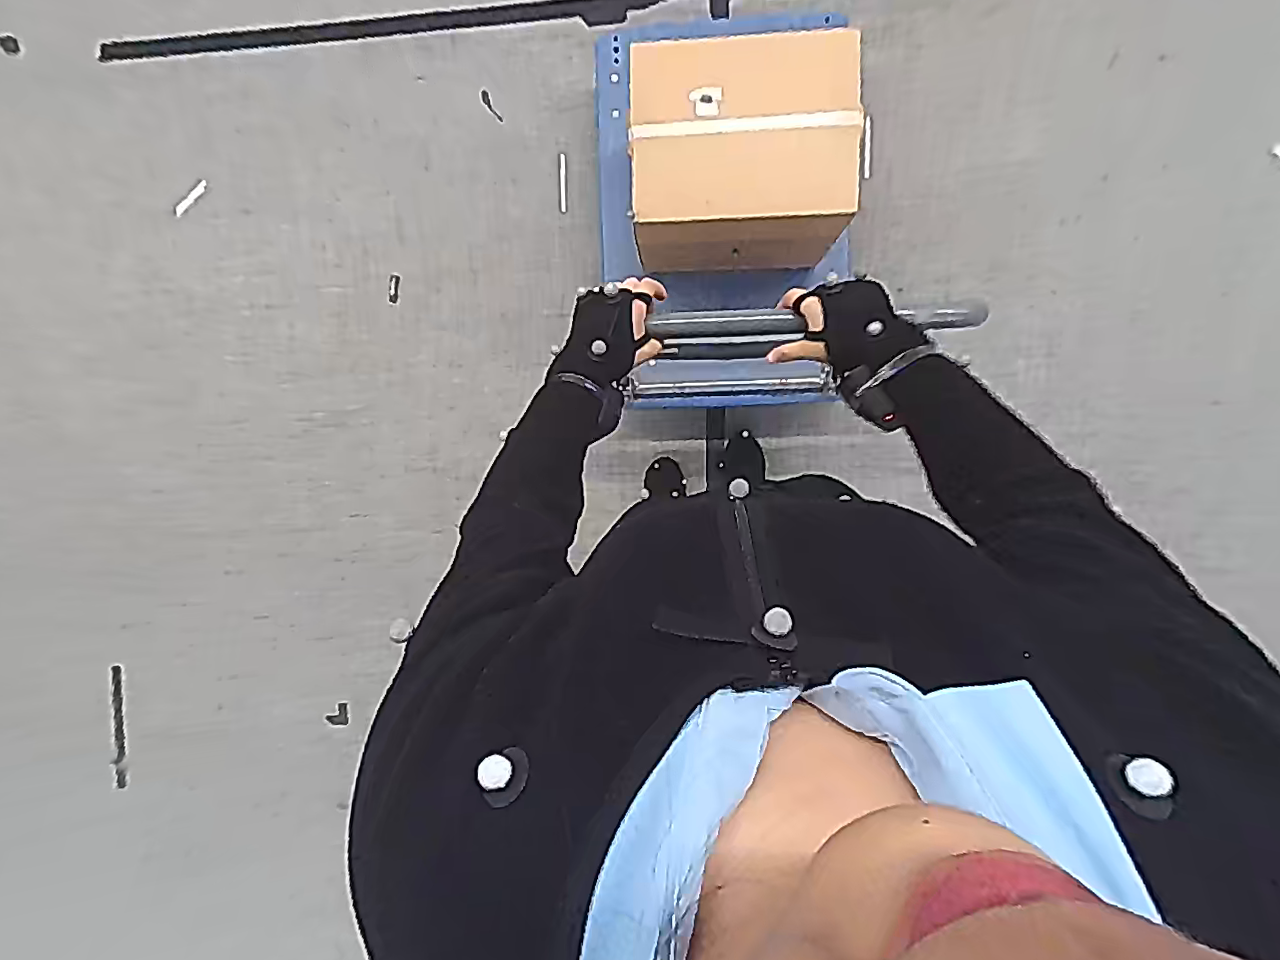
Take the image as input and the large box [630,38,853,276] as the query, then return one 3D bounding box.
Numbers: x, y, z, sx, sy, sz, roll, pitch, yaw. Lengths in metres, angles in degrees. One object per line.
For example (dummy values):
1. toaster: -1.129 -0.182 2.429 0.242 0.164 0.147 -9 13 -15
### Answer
1. large box: 0.198 -0.635 1.130 0.408 0.320 0.320 -1 93 5
